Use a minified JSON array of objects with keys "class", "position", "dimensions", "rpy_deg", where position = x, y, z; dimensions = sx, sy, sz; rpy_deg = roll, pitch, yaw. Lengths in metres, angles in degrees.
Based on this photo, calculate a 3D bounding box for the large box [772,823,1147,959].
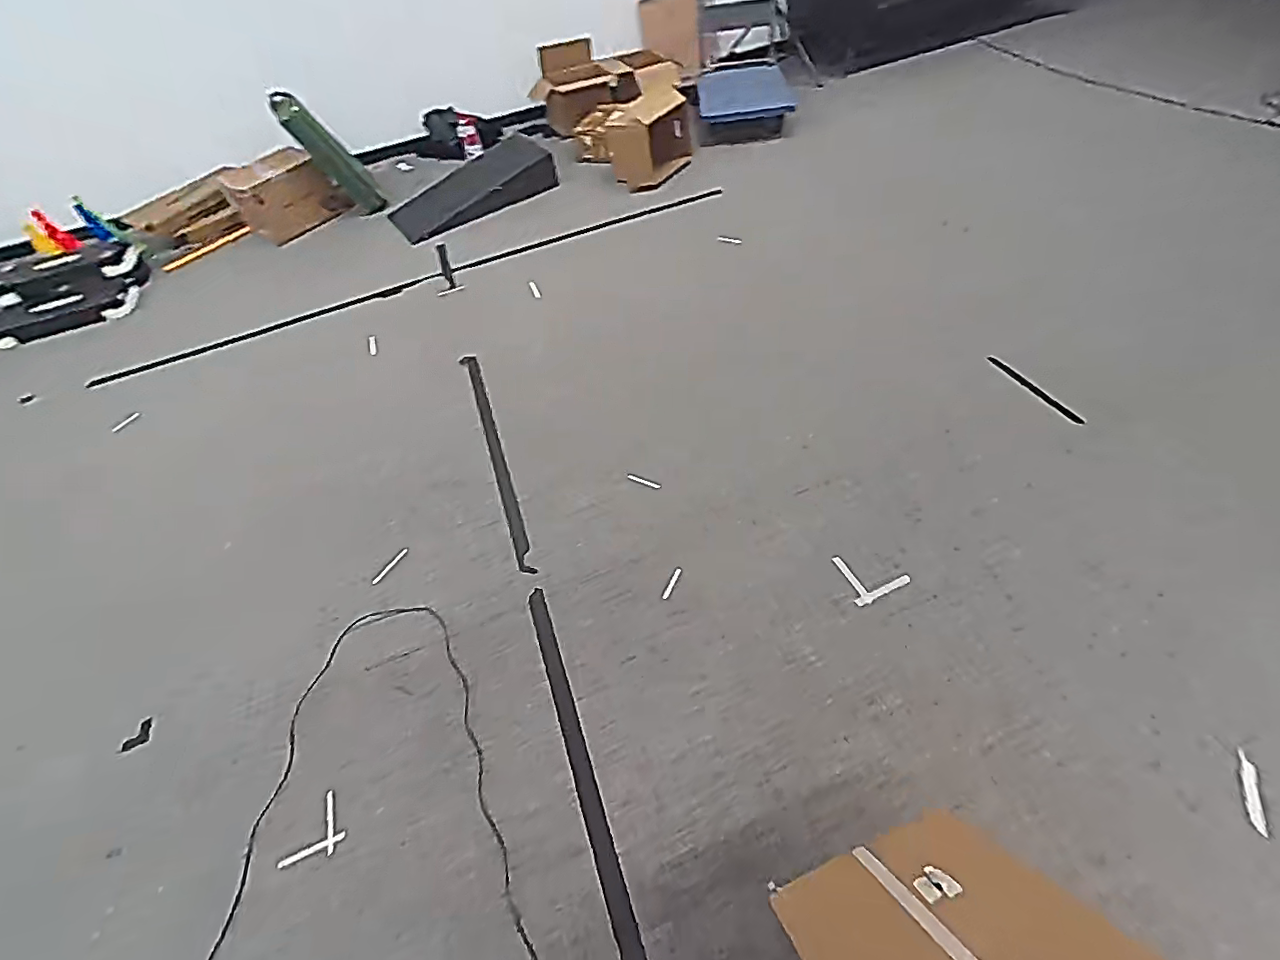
[{"class":"large box","position":[0.416,0.701,0.628],"dimensions":[0.320,0.408,0.320],"rpy_deg":[-18,83,-10]}]
